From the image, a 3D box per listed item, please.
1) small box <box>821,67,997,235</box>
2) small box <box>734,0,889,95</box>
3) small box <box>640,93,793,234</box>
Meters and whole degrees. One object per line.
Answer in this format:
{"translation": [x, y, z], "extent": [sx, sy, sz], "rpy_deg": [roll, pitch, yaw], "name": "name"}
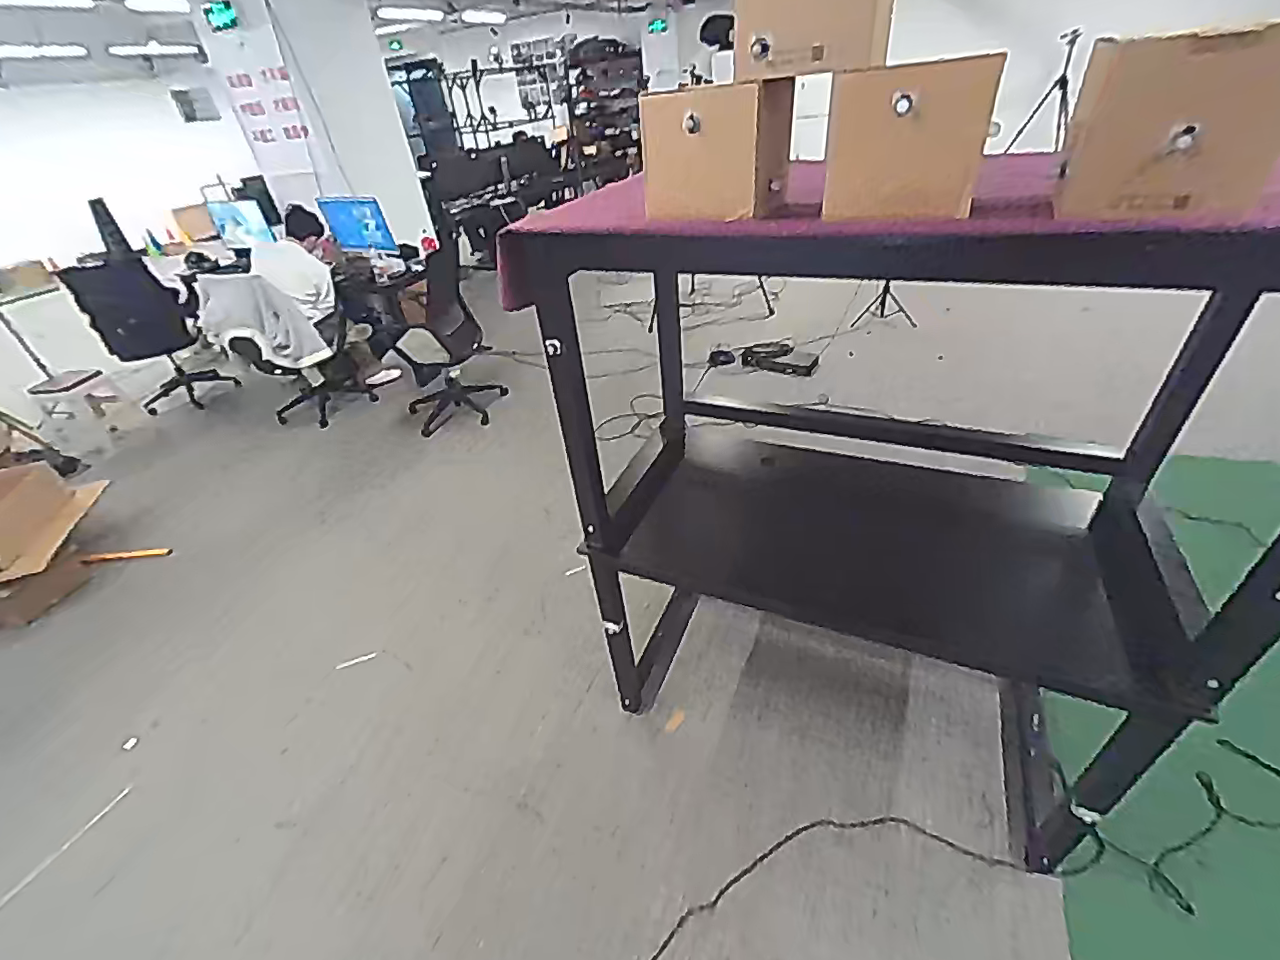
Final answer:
{"translation": [0.350, -0.436, 0.723], "extent": [0.179, 0.176, 0.168], "rpy_deg": [9, 37, 23], "name": "small box"}
{"translation": [0.223, -0.600, 0.691], "extent": [0.168, 0.176, 0.179], "rpy_deg": [12, 38, 24], "name": "small box"}
{"translation": [0.118, -0.482, 0.826], "extent": [0.179, 0.176, 0.168], "rpy_deg": [15, 40, 26], "name": "small box"}
